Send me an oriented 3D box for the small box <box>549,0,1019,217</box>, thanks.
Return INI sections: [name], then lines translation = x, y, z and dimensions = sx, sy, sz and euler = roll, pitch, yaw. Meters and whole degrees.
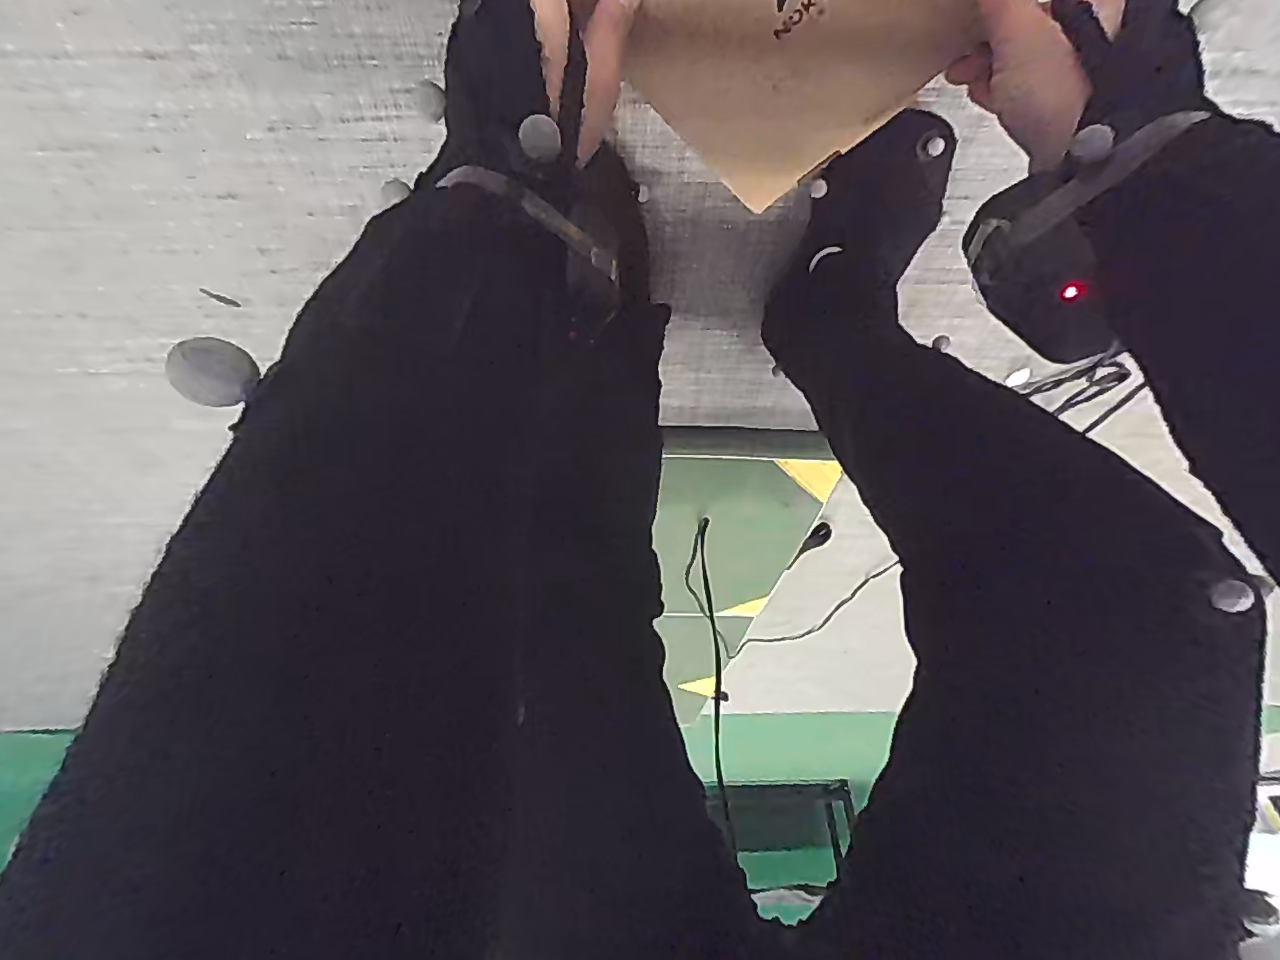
[small box]
translation = 0.070, -0.302, 0.299
dimensions = 0.179, 0.176, 0.168
euler = 24, 142, -39
